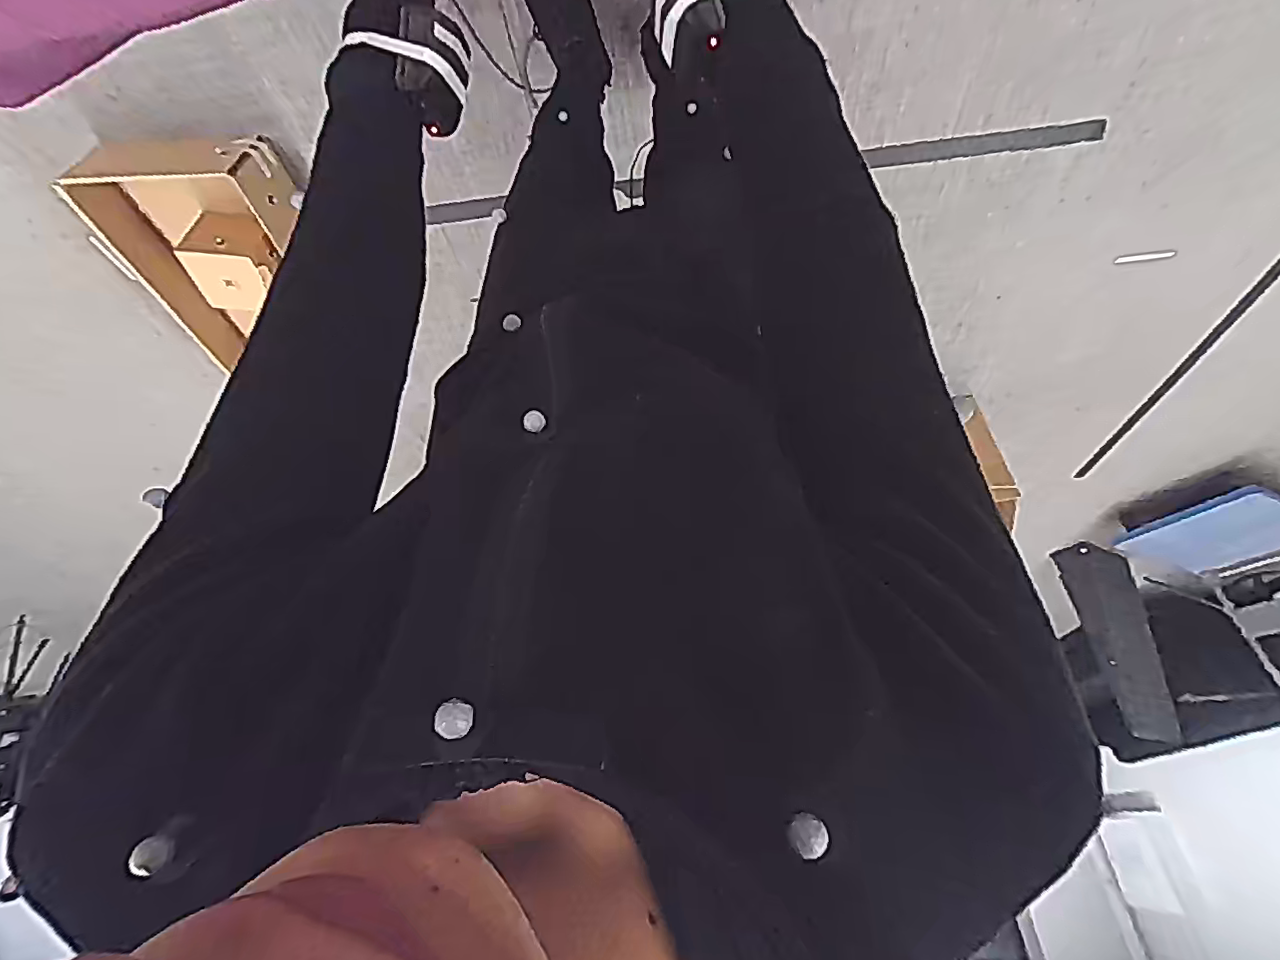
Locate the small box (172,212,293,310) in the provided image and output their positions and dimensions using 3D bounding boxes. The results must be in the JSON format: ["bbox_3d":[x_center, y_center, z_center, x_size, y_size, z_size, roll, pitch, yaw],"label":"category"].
[{"bbox_3d":[-1.015,-0.556,1.372,0.179,0.176,0.168,2,146,-6],"label":"small box"}]
